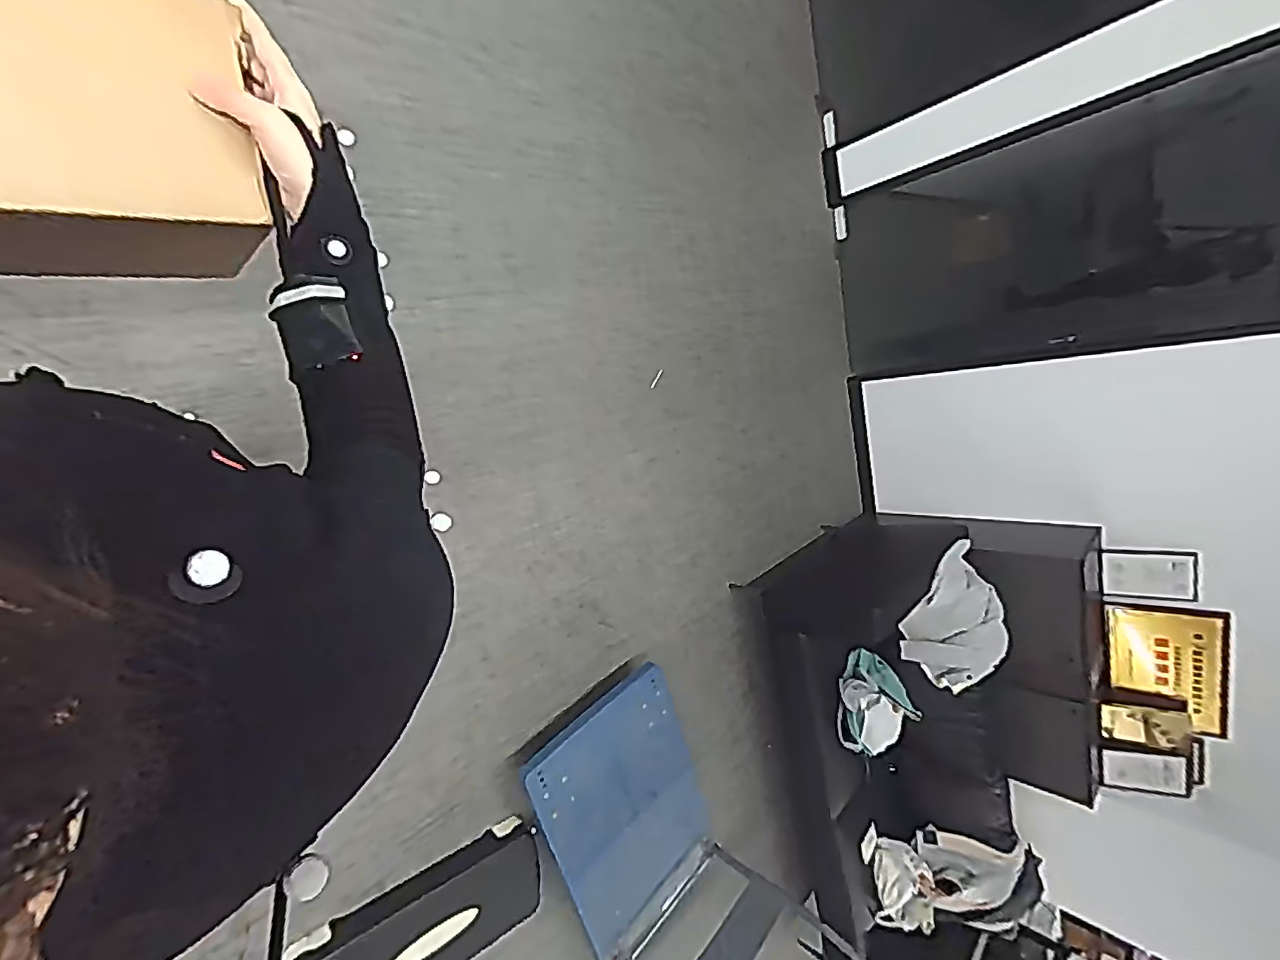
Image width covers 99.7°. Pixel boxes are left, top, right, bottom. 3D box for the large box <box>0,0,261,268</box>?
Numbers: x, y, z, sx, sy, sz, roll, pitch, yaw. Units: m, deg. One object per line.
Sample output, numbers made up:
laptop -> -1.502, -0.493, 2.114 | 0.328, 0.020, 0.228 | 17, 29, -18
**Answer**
large box -> -0.556, -0.329, 0.381 | 0.408, 0.320, 0.320 | -16, 109, -37
